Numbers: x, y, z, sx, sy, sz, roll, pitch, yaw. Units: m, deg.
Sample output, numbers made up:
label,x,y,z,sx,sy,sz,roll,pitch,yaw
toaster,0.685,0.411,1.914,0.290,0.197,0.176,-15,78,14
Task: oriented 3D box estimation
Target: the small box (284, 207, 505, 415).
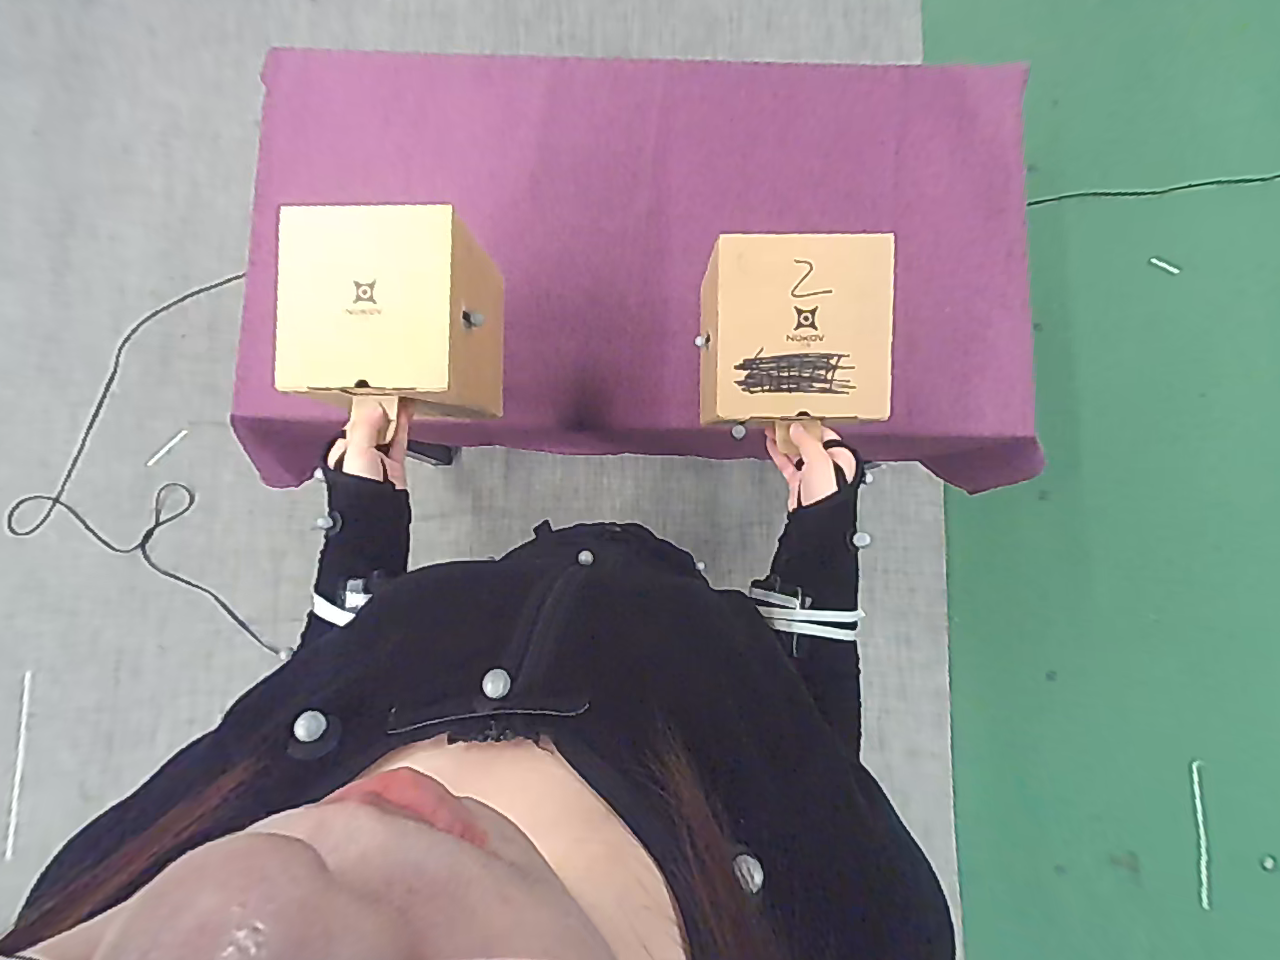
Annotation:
label,x,y,z,sx,sy,sz,roll,pitch,yaw
small box,-0.254,-0.173,0.597,0.168,0.176,0.179,1,89,2
